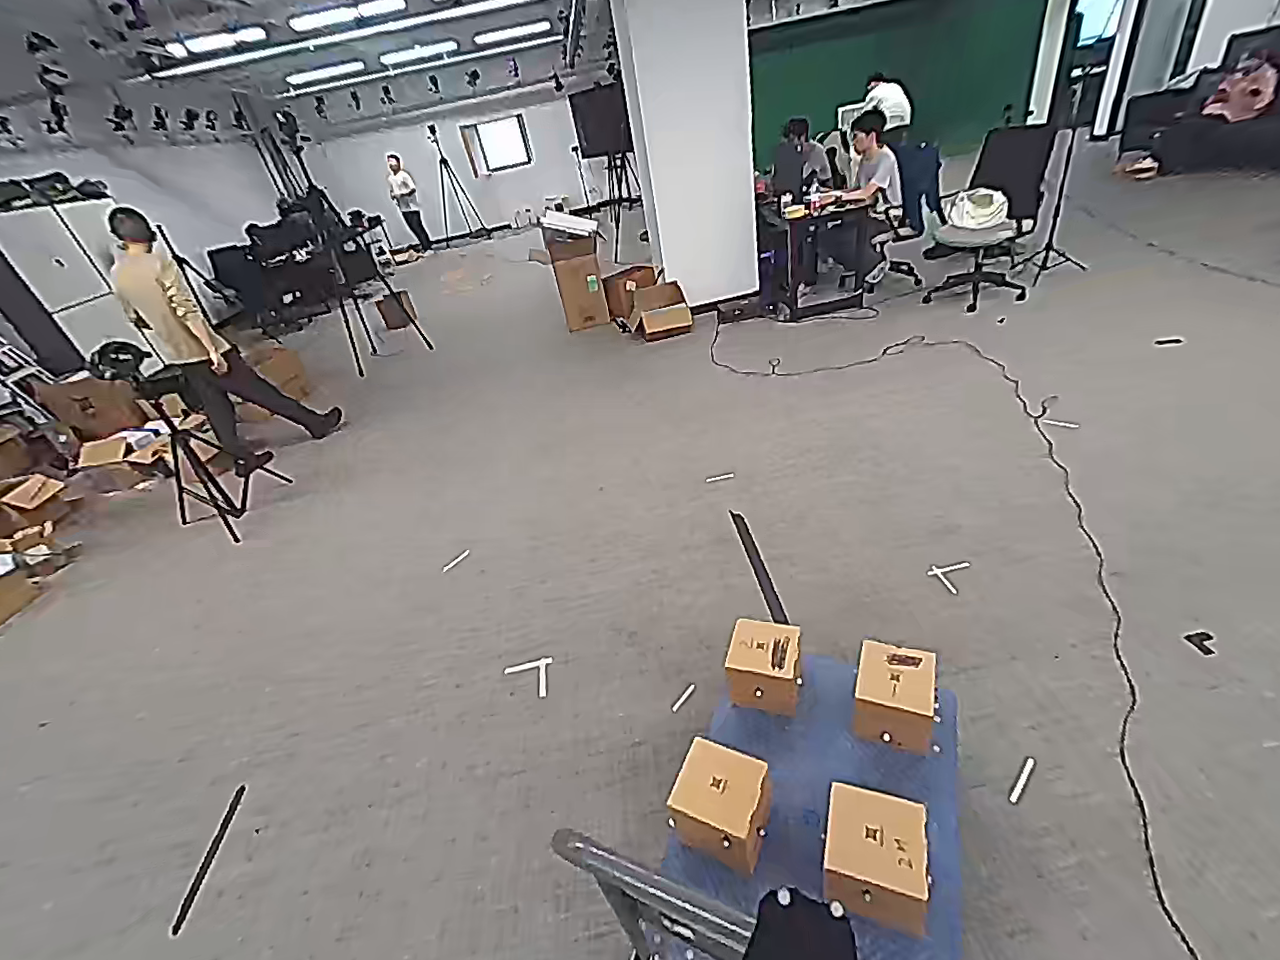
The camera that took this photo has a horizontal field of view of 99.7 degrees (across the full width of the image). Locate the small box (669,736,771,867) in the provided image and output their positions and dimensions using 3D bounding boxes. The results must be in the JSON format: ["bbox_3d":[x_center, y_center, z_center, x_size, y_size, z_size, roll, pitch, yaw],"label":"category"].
[{"bbox_3d":[0.184,0.715,1.203,0.179,0.176,0.168,9,38,27],"label":"small box"}]

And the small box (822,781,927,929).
[{"bbox_3d":[0.463,0.740,1.069,0.179,0.176,0.168,4,37,24],"label":"small box"}]

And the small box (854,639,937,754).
[{"bbox_3d":[0.626,0.529,1.329,0.168,0.176,0.179,6,39,27],"label":"small box"}]
